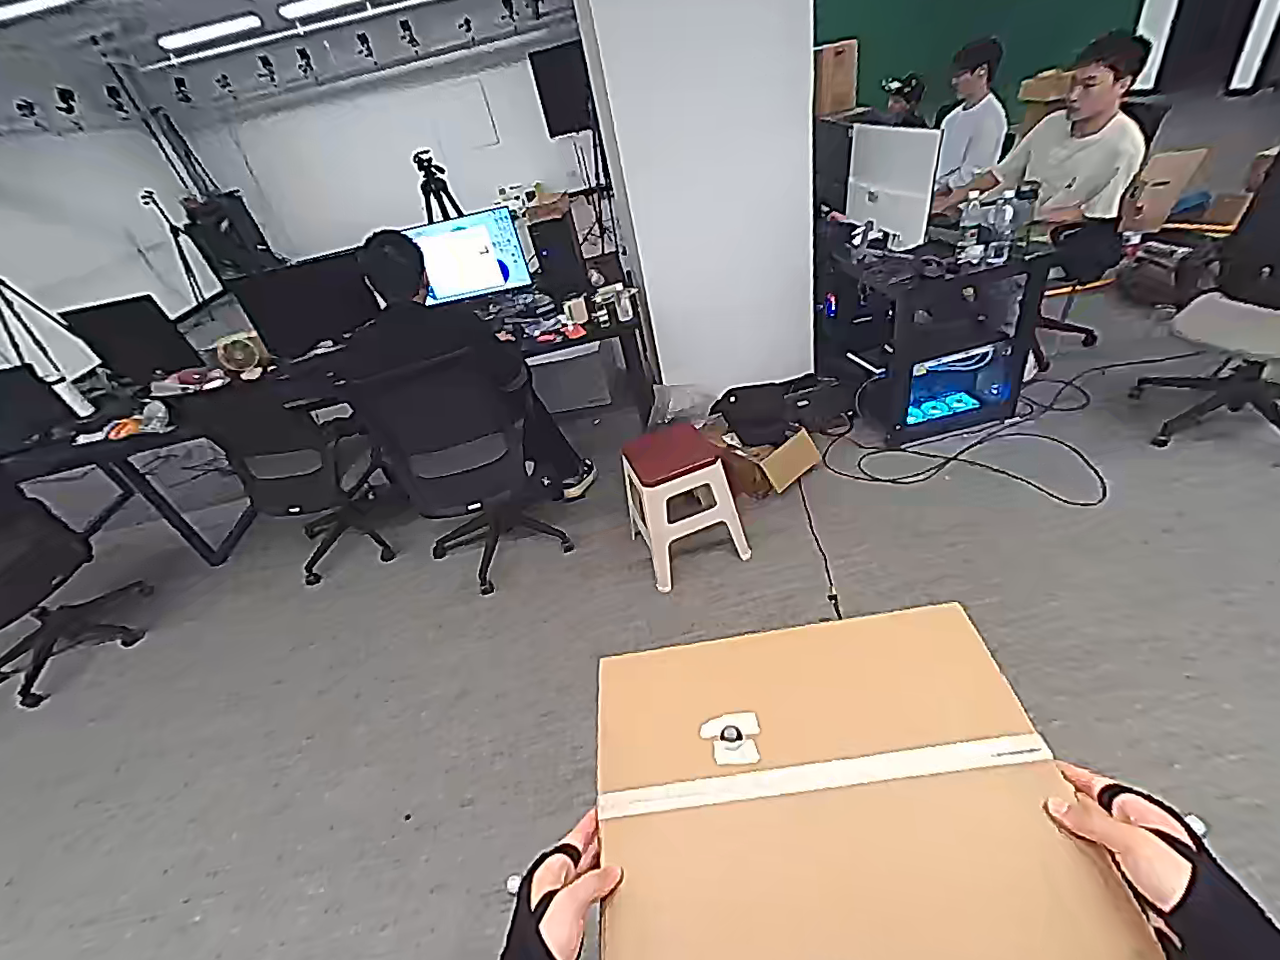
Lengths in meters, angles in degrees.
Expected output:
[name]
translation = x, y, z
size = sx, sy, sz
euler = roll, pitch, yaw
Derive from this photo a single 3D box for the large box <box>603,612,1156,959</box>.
[large box]
translation = 0.194, 0.394, 0.601
size = 0.408, 0.320, 0.320
euler = -12, 40, 6
